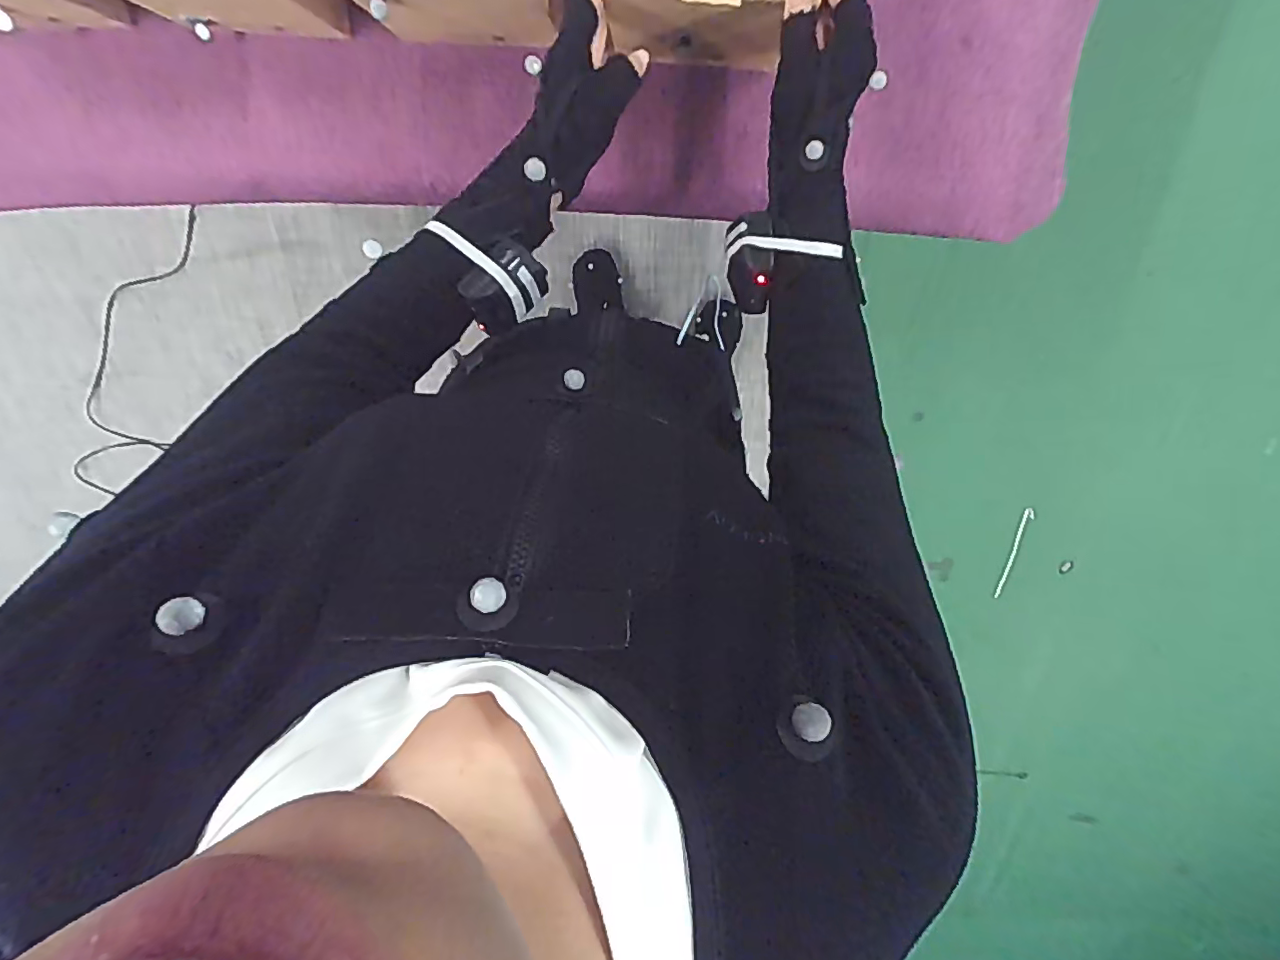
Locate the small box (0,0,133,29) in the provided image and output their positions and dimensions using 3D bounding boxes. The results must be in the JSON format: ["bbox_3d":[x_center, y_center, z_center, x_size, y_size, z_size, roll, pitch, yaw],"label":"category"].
[{"bbox_3d":[-0.585,-0.509,0.440,0.168,0.176,0.179,2,114,0],"label":"small box"}]

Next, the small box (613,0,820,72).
[{"bbox_3d":[0.063,-0.473,0.446,0.168,0.176,0.179,5,114,-1],"label":"small box"}]
